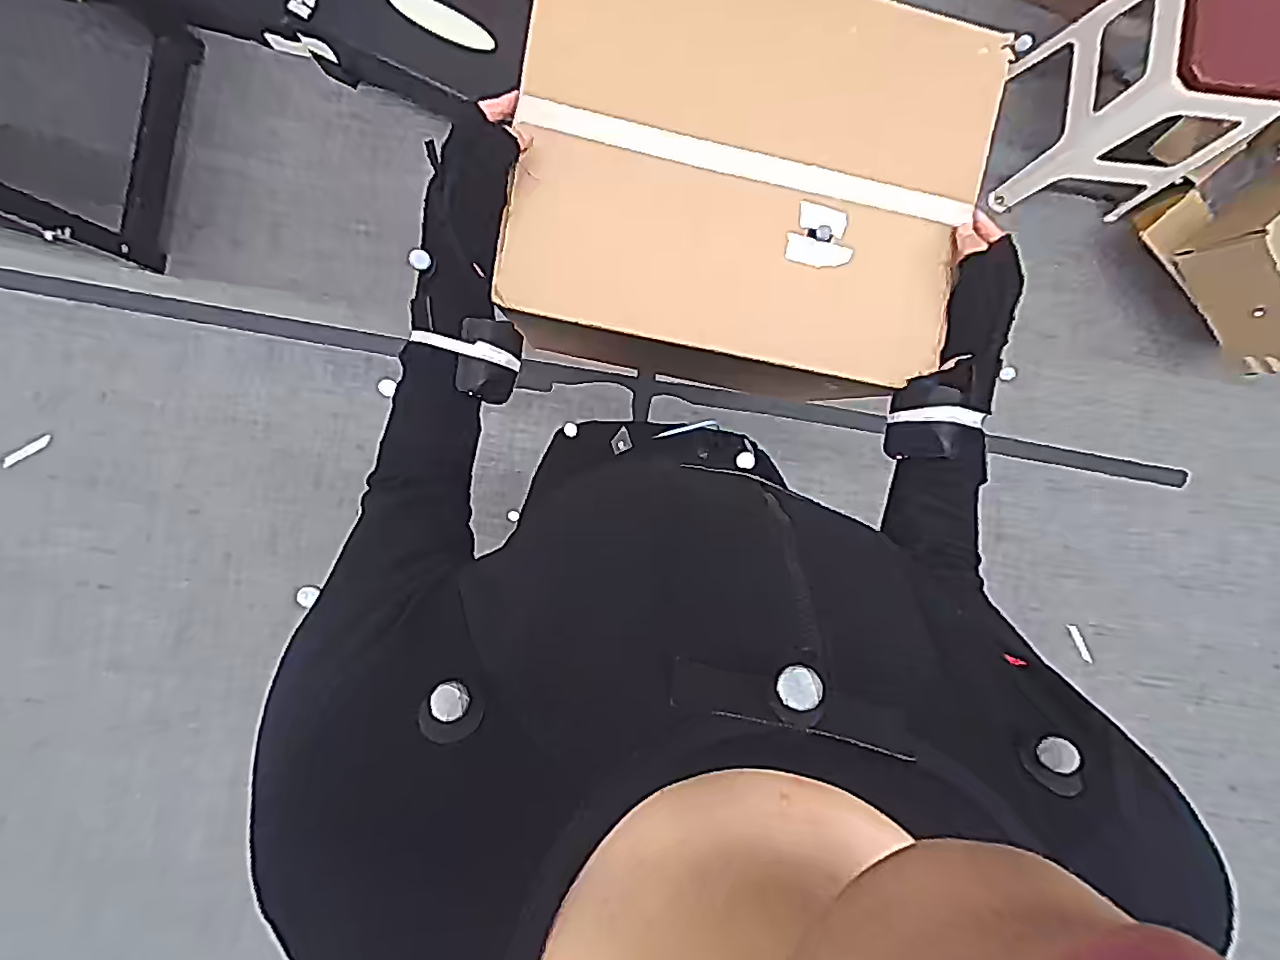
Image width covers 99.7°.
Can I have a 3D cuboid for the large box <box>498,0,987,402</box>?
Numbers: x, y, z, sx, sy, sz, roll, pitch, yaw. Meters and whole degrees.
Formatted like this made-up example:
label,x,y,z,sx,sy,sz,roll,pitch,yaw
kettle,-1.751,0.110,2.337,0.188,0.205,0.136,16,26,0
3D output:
label,x,y,z,sx,sy,sz,roll,pitch,yaw
large box,0.077,-0.278,0.623,0.408,0.320,0.320,10,97,-8
